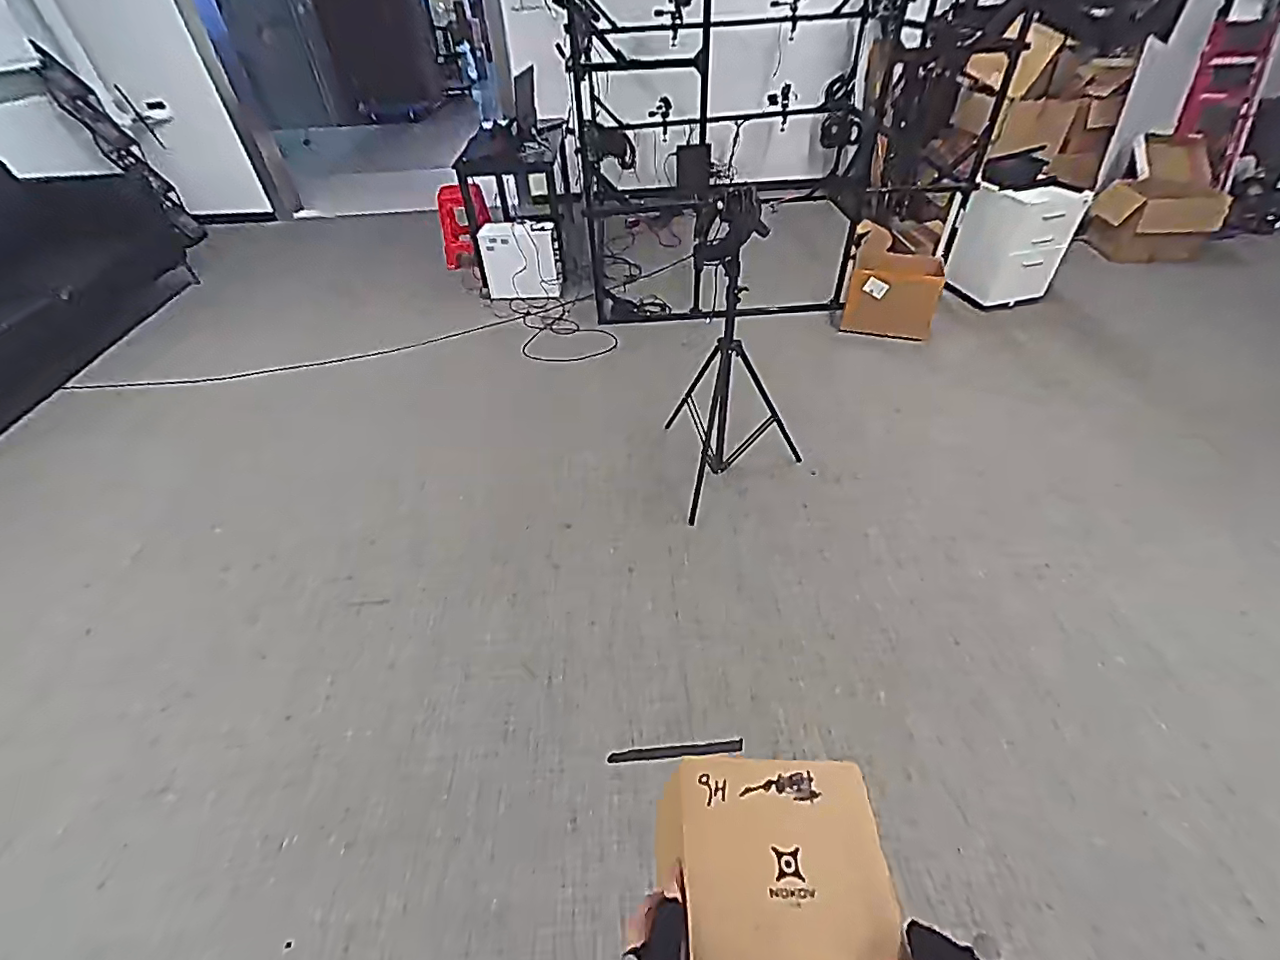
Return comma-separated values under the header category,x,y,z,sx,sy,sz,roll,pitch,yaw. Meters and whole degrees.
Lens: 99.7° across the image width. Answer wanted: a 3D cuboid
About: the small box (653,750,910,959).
category,x,y,z,sx,sy,sz,roll,pitch,yaw
small box,0.103,0.356,0.468,0.168,0.176,0.179,4,45,-5
